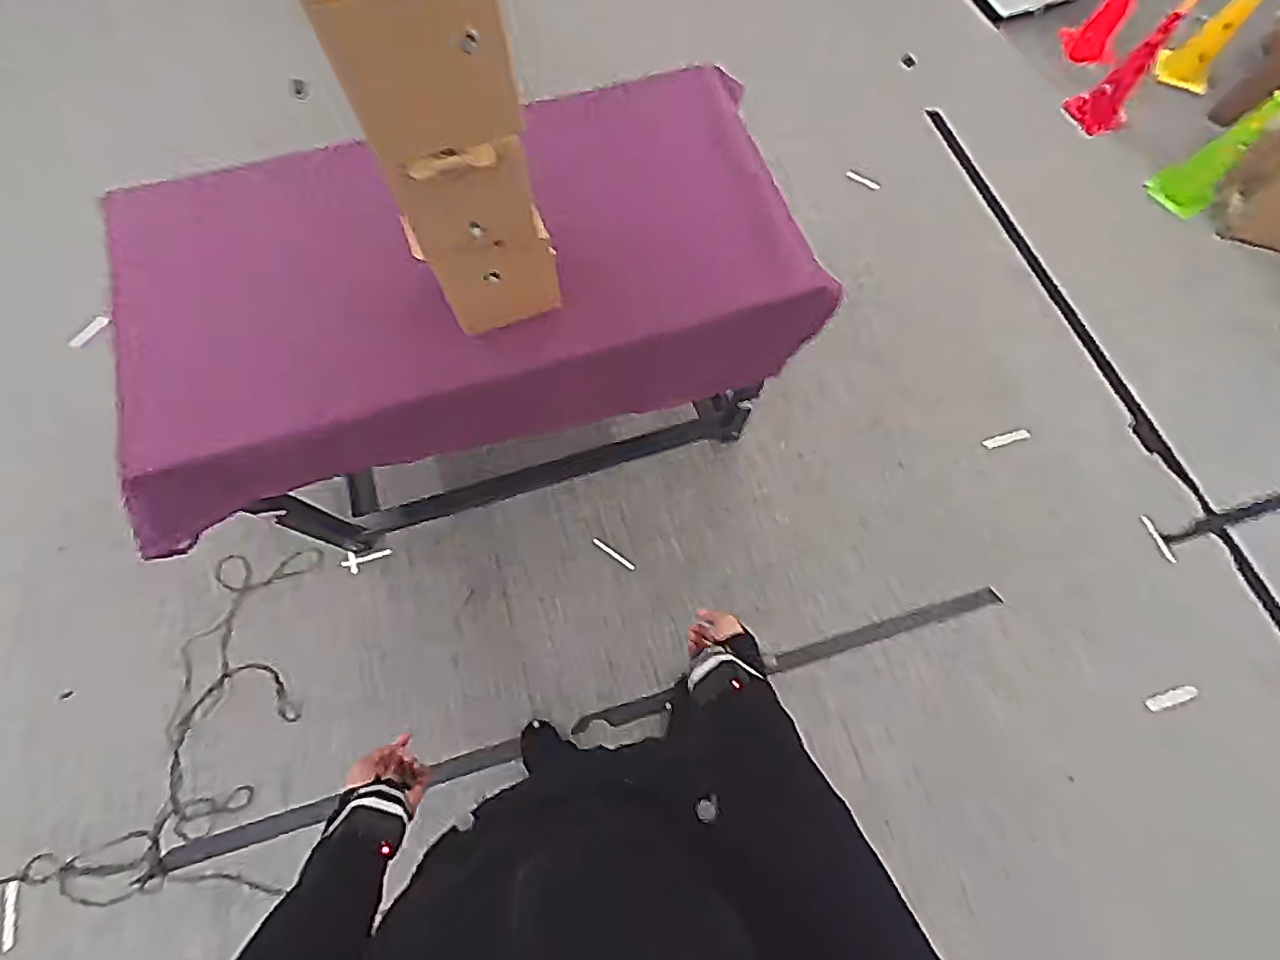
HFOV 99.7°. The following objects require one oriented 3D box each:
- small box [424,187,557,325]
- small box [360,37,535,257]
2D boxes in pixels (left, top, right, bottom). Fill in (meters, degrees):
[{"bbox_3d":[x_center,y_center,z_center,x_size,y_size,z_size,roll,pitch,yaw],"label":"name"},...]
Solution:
[{"bbox_3d":[-0.249,-0.381,0.881,0.179,0.176,0.168,-20,73,-8],"label":"small box"},{"bbox_3d":[-0.248,-0.437,0.726,0.168,0.176,0.179,-15,72,-5],"label":"small box"}]
